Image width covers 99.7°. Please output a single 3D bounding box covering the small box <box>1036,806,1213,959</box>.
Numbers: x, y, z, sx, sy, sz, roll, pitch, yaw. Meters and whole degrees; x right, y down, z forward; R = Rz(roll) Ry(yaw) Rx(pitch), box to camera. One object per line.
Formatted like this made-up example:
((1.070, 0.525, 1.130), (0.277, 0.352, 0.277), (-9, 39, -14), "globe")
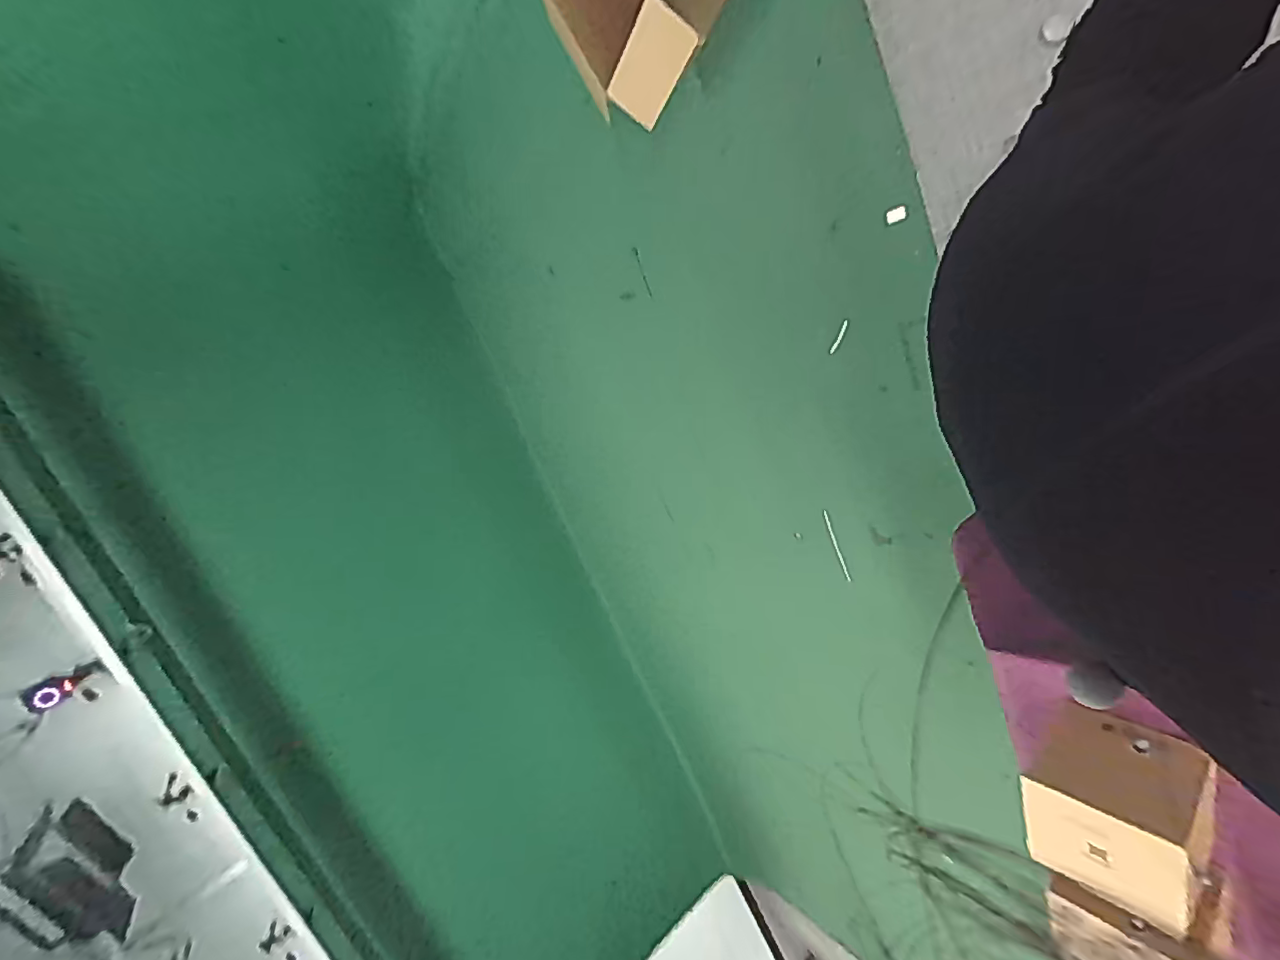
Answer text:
((0.733, 0.651, 0.817), (0.168, 0.176, 0.179), (6, 122, 54), "small box")
